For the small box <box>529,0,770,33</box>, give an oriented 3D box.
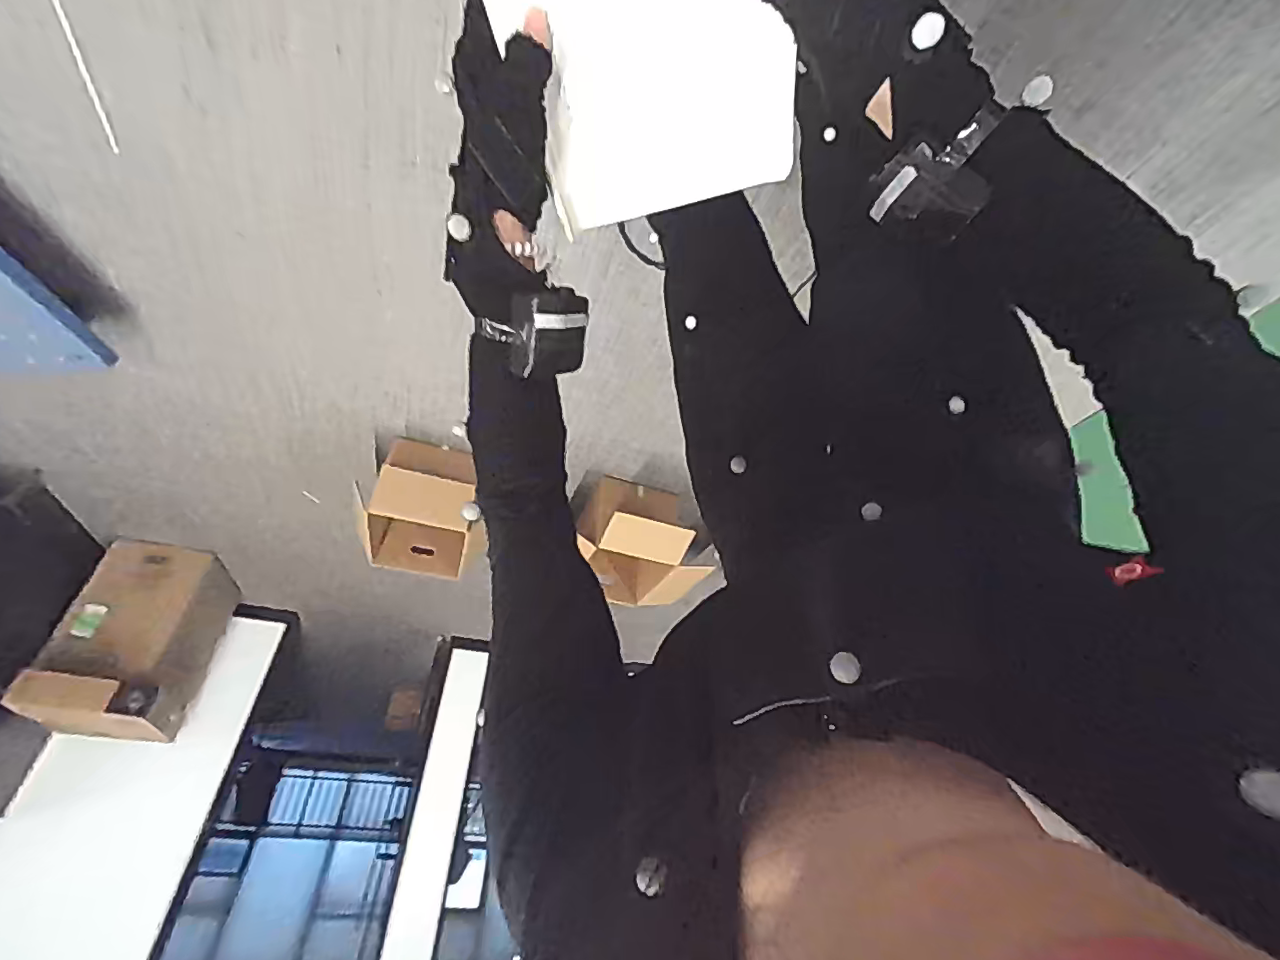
[{"bbox_3d":[-0.011,-0.421,0.342,0.168,0.176,0.179,-12,141,-3],"label":"small box"}]
